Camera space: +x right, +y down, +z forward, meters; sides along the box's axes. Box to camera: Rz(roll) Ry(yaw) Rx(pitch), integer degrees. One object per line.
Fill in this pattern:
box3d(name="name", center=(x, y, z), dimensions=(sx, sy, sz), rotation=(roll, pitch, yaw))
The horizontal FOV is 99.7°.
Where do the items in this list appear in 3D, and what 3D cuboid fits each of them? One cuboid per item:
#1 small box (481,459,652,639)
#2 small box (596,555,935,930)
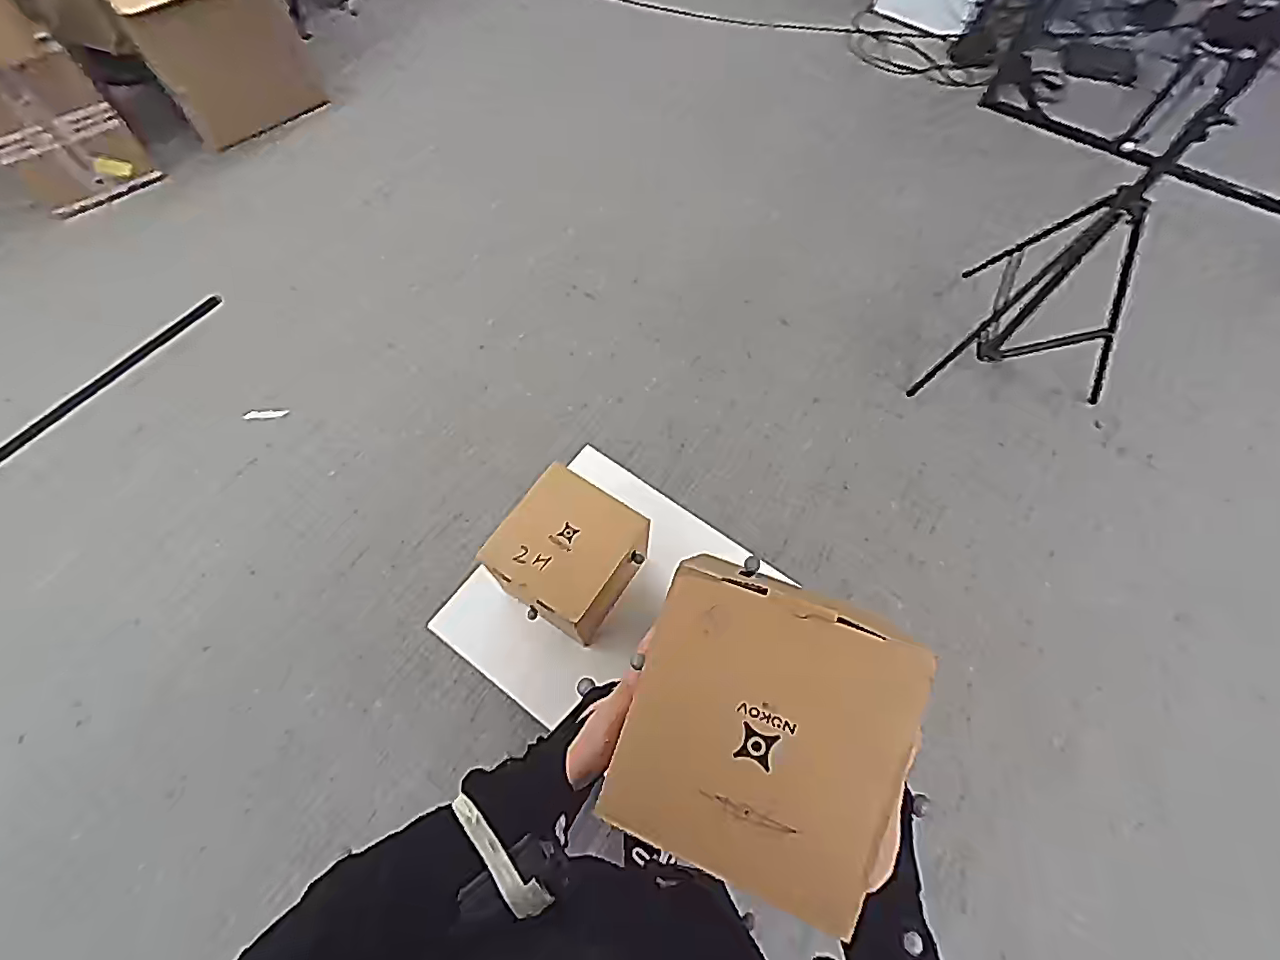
box3d(name="small box", center=(-0.099, 0.107, 0.794), dimensions=(0.168, 0.176, 0.179), rotation=(31, 68, 14))
box3d(name="small box", center=(0.088, 0.163, 0.411), dimensions=(0.168, 0.176, 0.179), rotation=(19, 88, 13))
